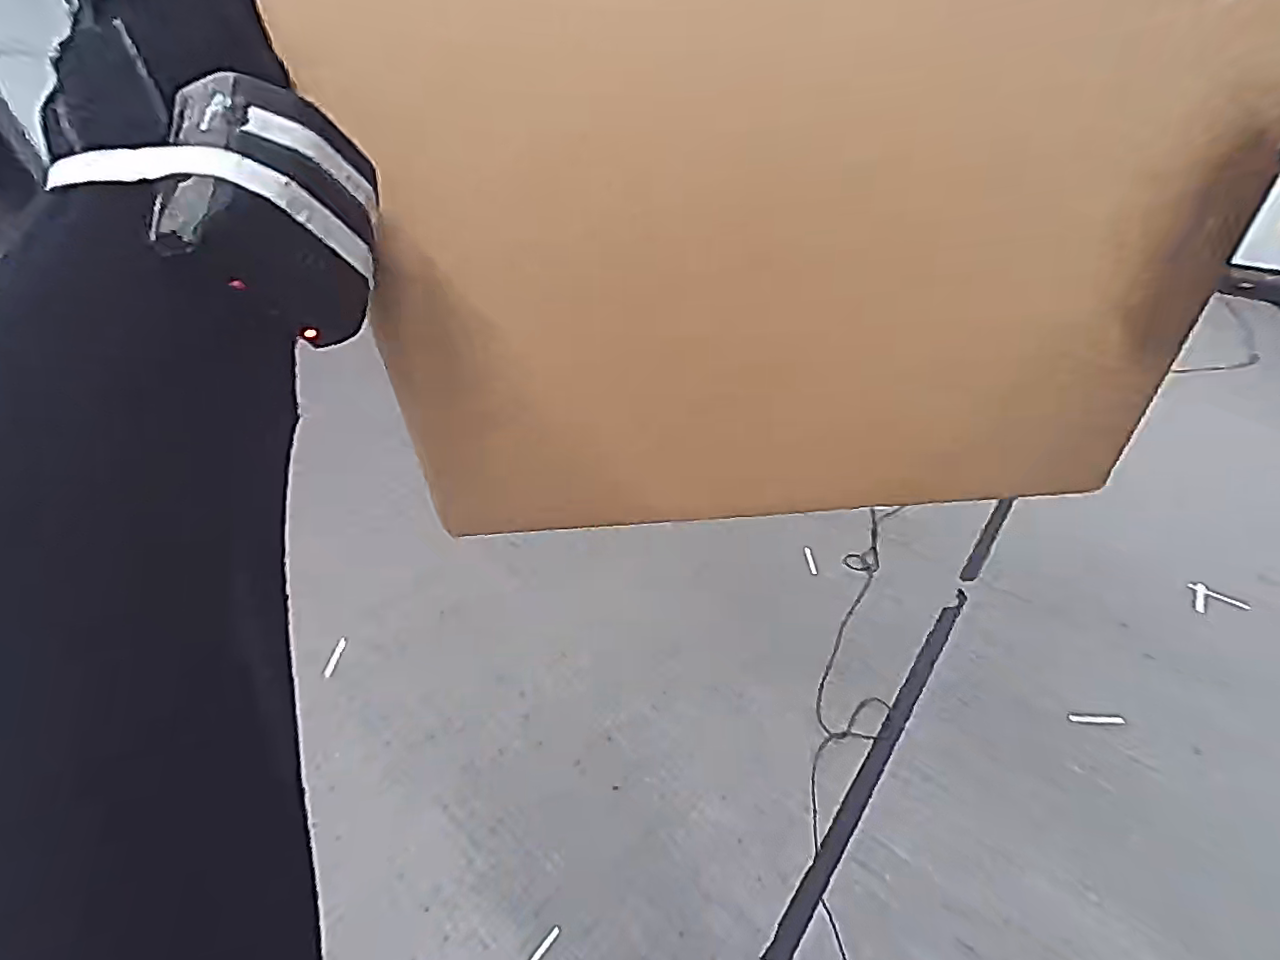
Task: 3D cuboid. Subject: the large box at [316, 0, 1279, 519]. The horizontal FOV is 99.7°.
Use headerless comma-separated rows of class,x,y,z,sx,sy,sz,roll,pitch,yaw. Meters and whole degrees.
large box,0.071,-0.194,0.374,0.408,0.320,0.320,-3,36,-2
